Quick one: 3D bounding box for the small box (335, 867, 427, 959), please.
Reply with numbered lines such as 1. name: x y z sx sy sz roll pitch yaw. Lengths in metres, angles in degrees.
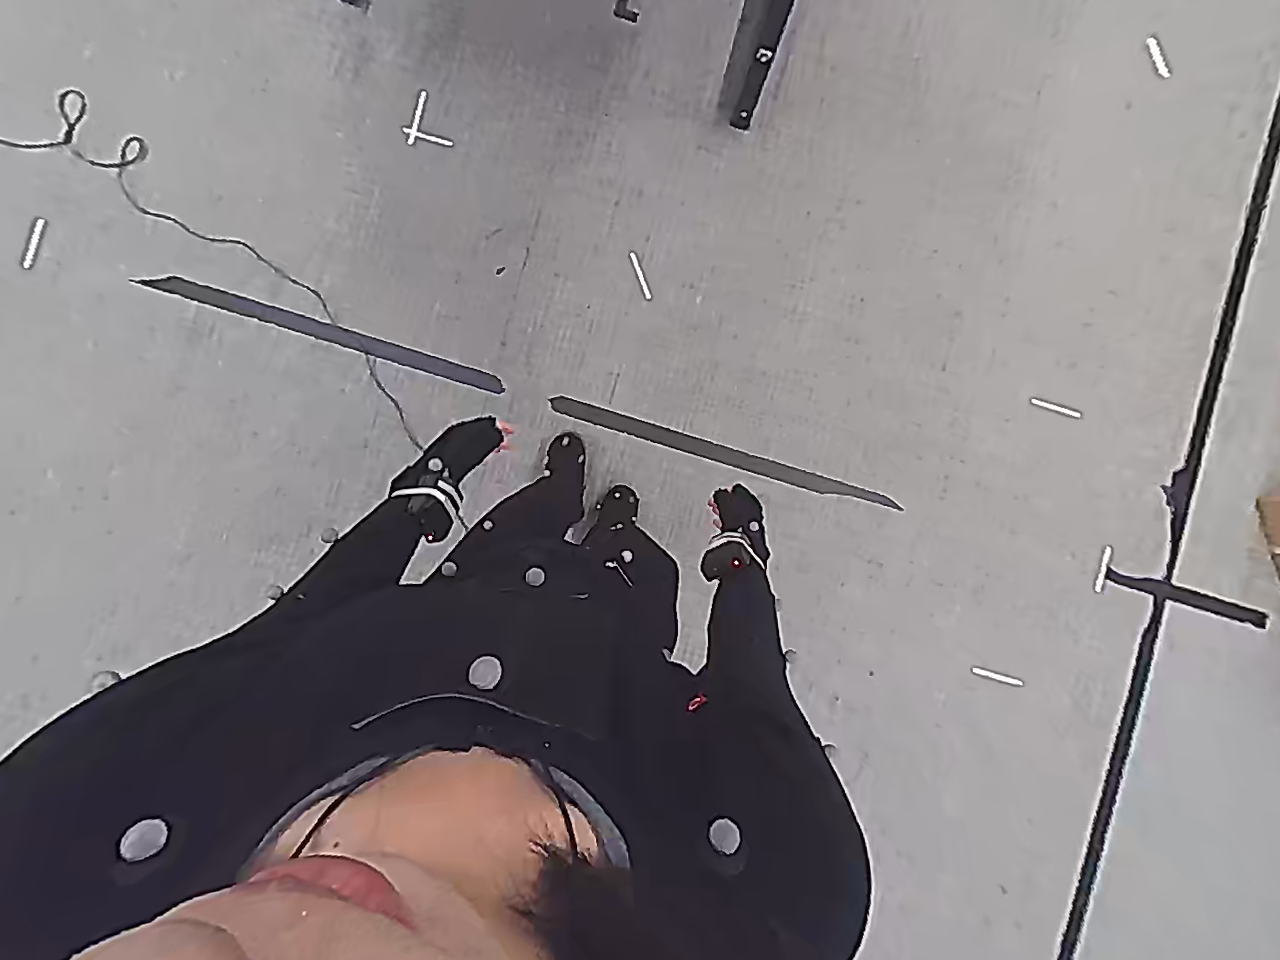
1. small box: -0.661 1.147 1.397 0.168 0.176 0.179 -2 89 -4
